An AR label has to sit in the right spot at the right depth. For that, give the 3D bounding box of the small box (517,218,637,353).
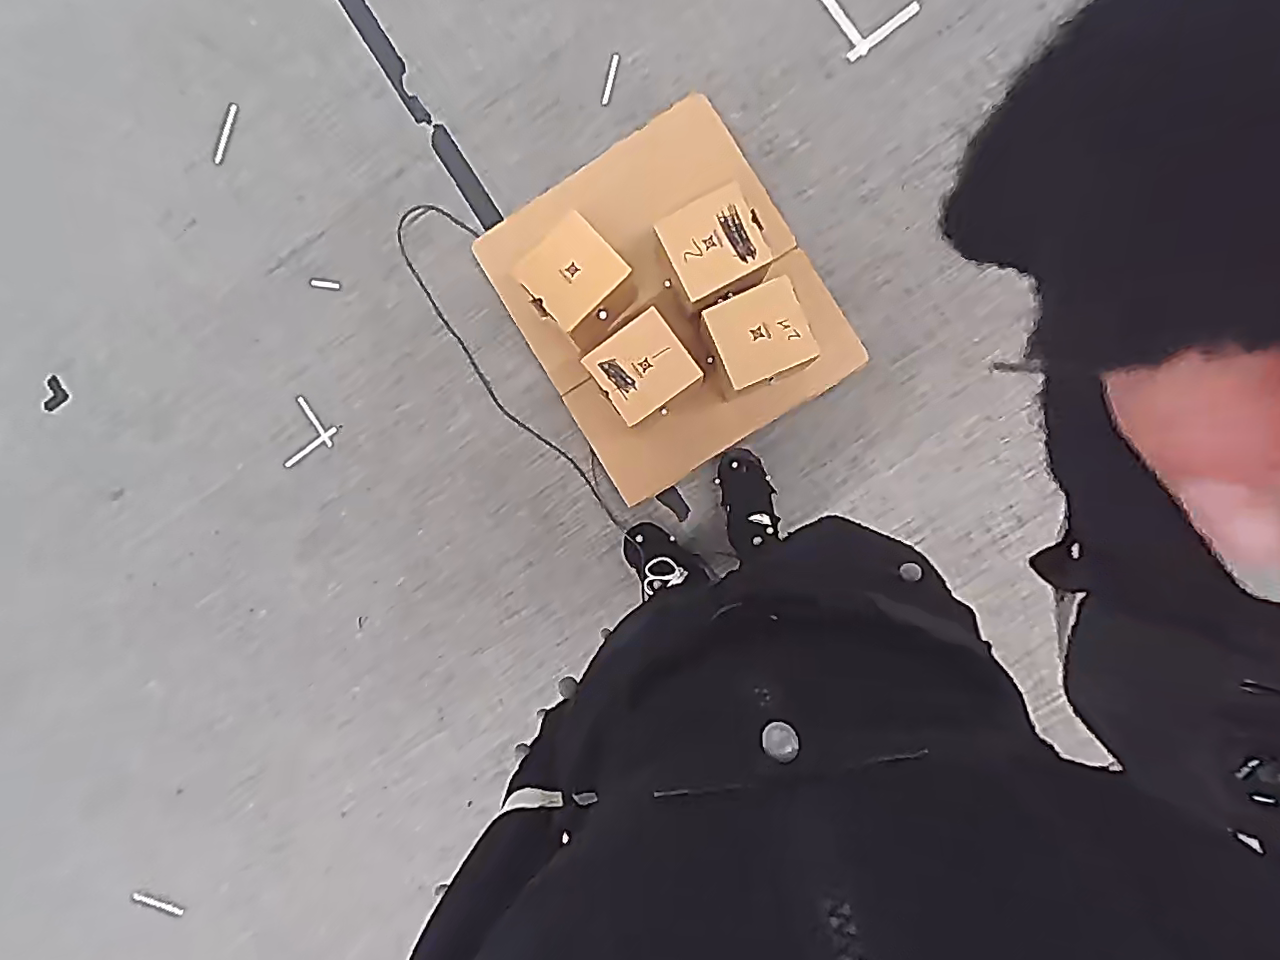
[{"bbox_3d":[-0.120,-0.391,1.120,0.179,0.176,0.168,-44,87,5],"label":"small box"}]
